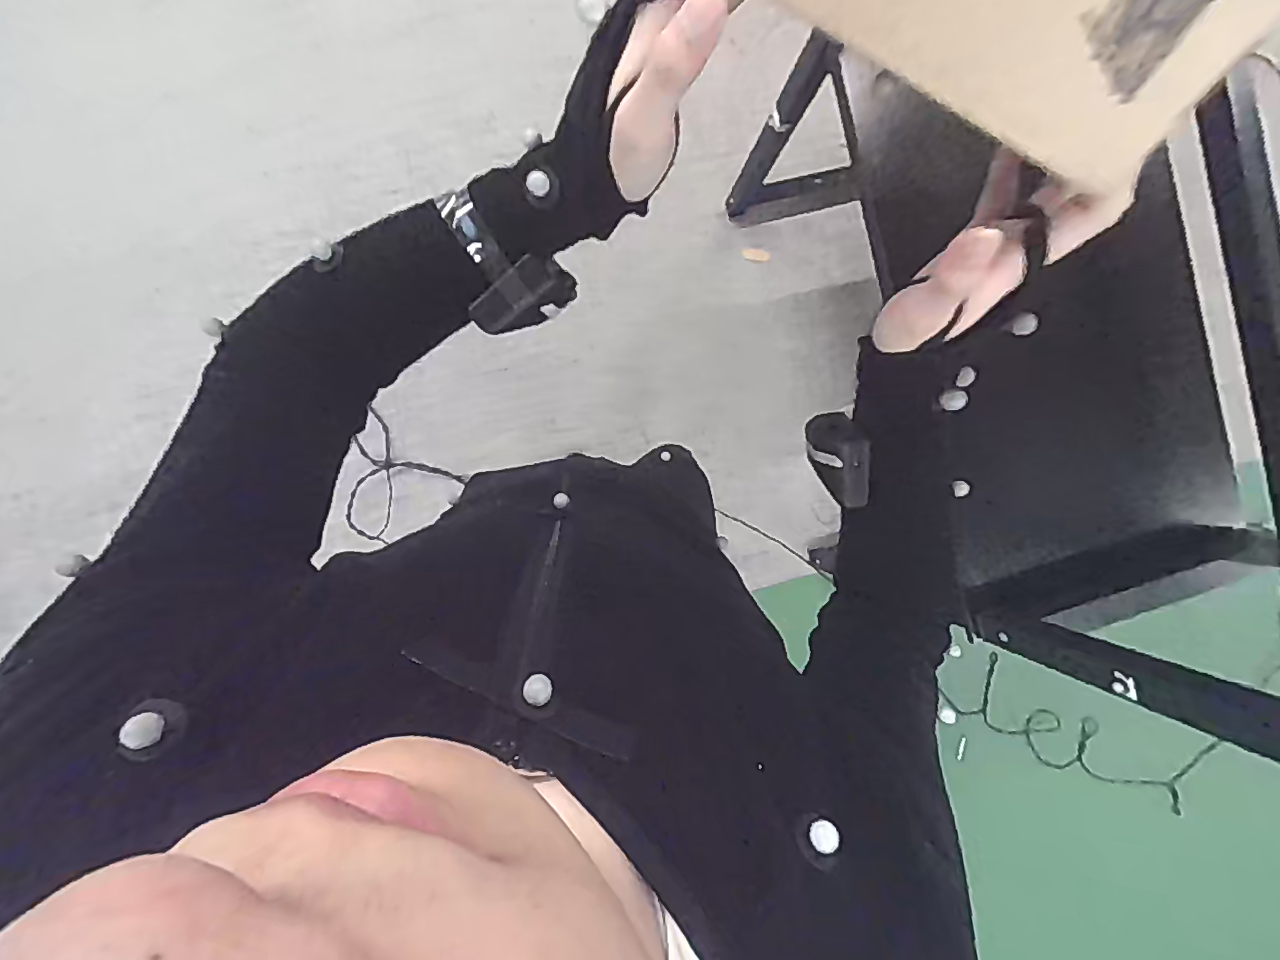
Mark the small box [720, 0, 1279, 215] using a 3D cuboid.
[{"bbox_3d":[0.151,-0.249,0.215,0.179,0.168,0.176,27,45,-7],"label":"small box"}]
